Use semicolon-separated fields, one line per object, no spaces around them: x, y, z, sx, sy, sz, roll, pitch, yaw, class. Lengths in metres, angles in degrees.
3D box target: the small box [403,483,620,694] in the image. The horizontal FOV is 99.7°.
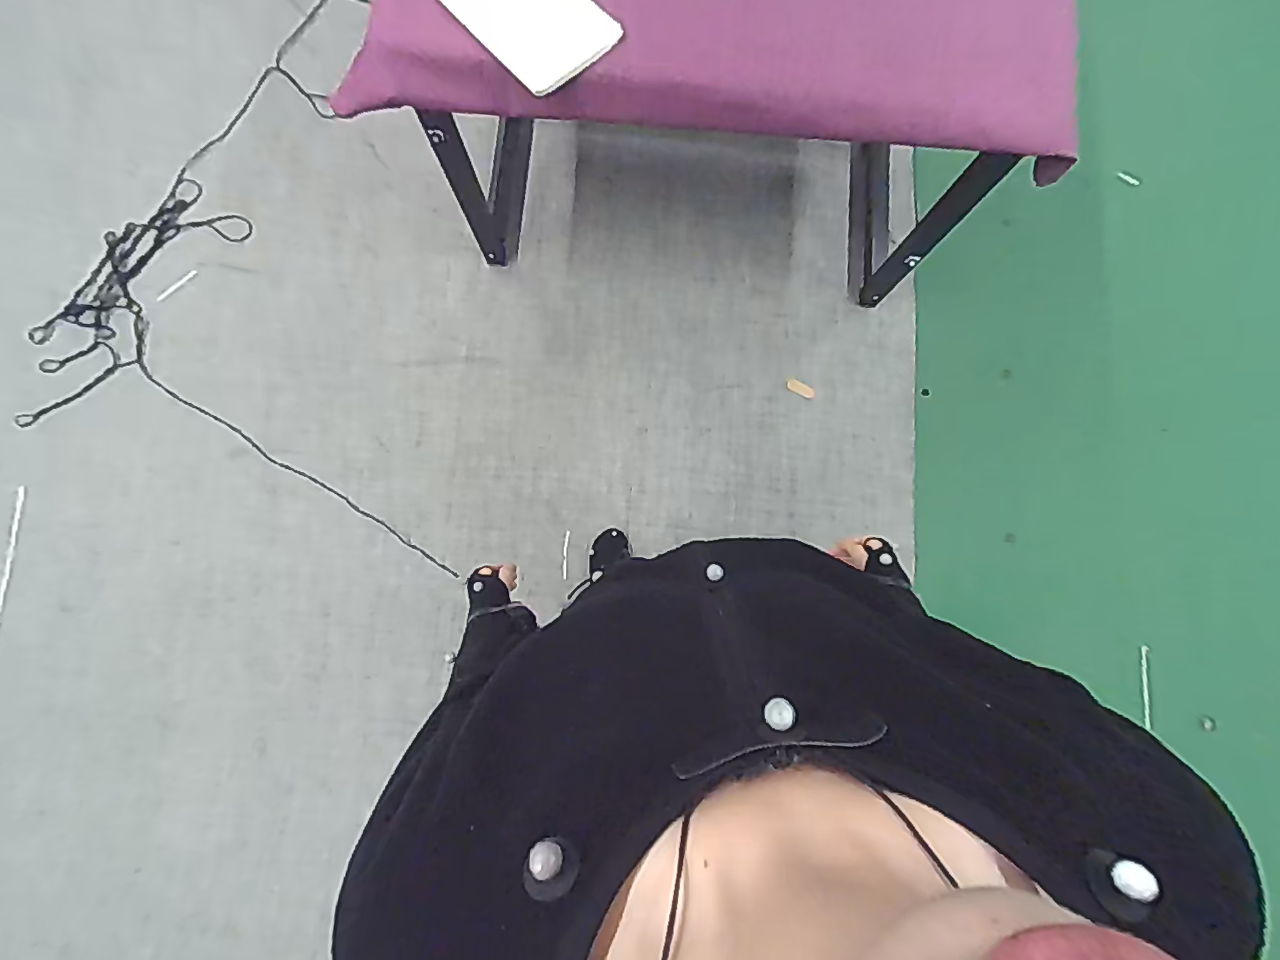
-0.156;0.120;0.620;0.168;0.179;0.176;-24;80;-32;small box
